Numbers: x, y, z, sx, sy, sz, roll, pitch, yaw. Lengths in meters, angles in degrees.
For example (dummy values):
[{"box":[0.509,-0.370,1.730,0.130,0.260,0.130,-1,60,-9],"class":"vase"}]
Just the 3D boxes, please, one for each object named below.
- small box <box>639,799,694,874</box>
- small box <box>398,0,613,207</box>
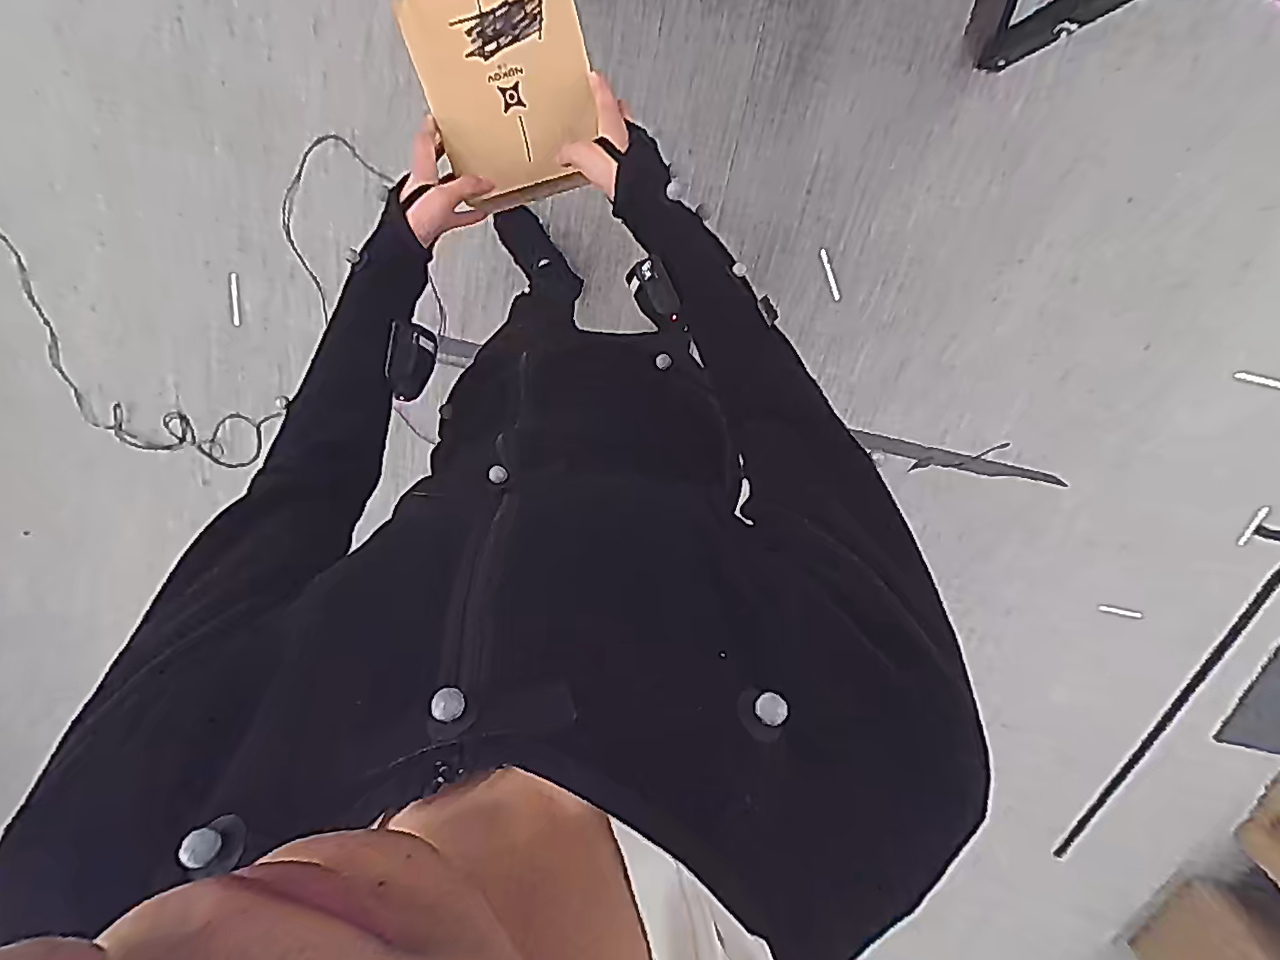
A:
[{"box":[0.093,1.302,1.983,0.179,0.176,0.168,7,114,-2],"class":"small box"},{"box":[-0.136,-0.422,0.602,0.168,0.176,0.179,-16,115,0],"class":"small box"}]
